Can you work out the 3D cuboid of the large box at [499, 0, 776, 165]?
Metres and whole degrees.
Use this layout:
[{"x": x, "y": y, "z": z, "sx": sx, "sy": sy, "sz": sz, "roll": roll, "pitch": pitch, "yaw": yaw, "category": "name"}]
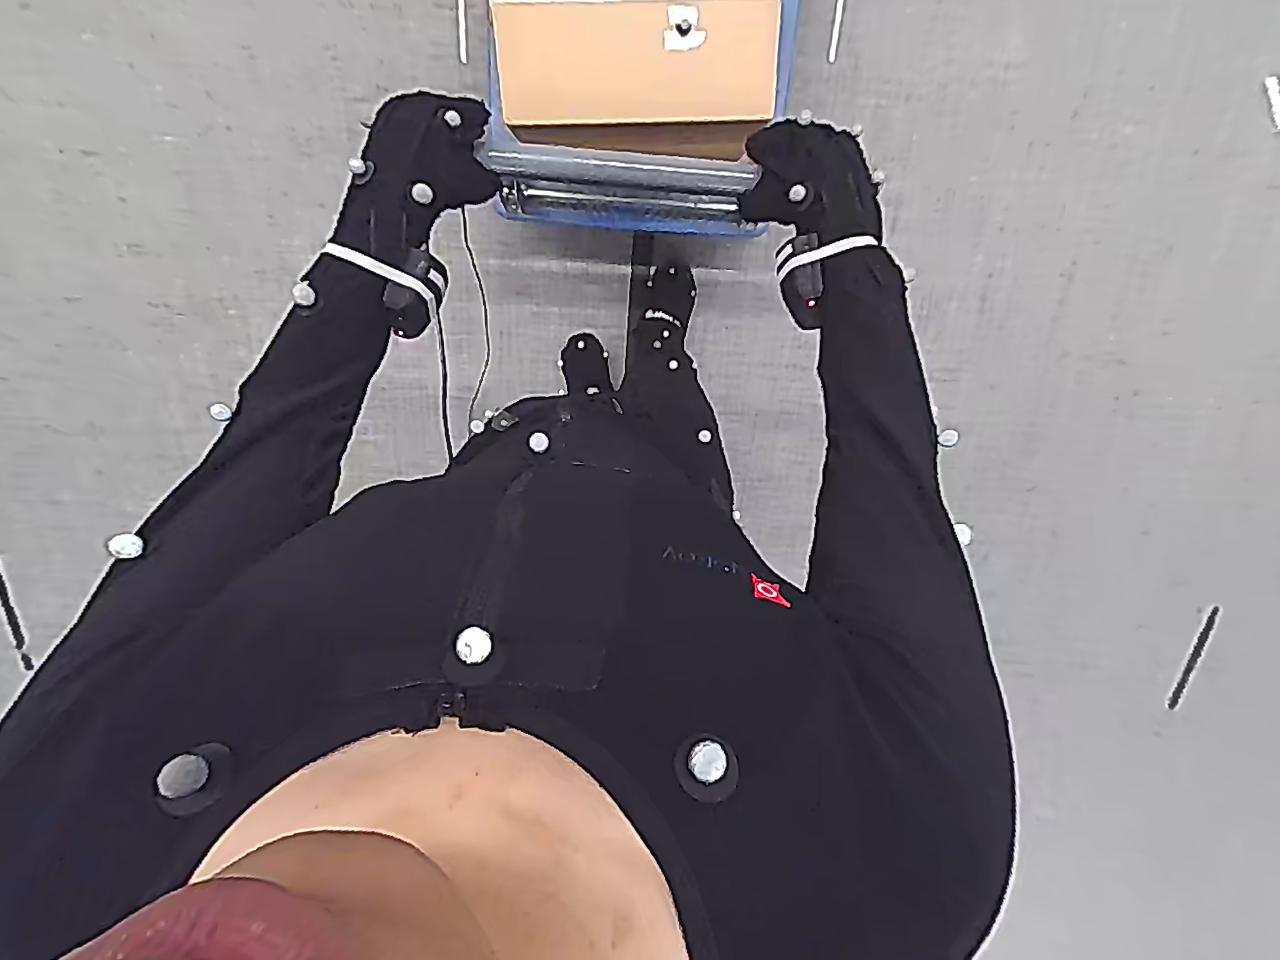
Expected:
[{"x": -0.009, "y": -0.739, "z": 0.905, "sx": 0.408, "sy": 0.320, "sz": 0.320, "roll": -2, "pitch": 110, "yaw": -1, "category": "large box"}]
